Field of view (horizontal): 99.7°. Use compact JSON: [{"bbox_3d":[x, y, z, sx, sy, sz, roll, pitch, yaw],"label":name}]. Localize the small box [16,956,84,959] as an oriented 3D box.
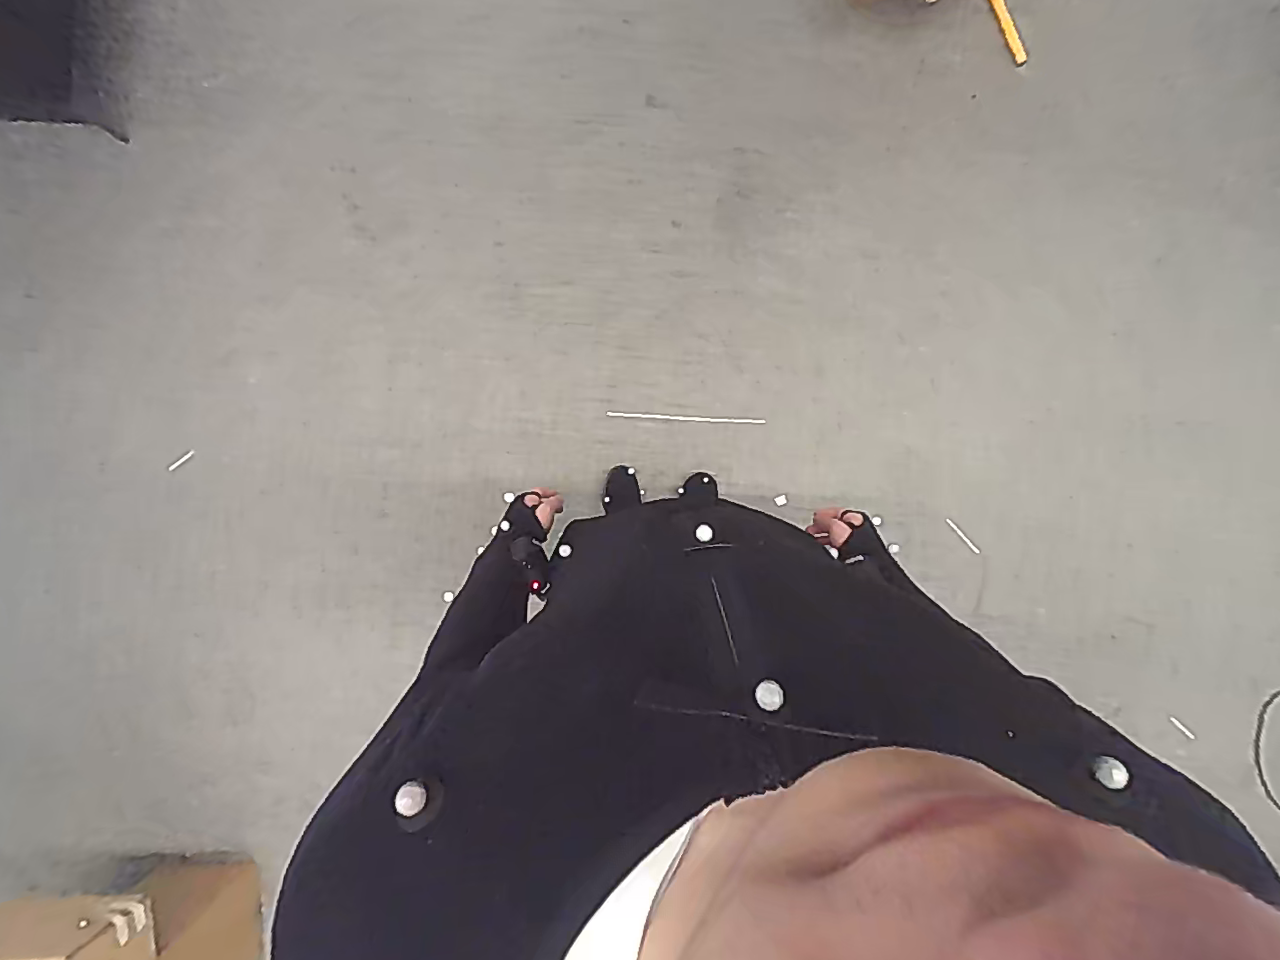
[{"bbox_3d":[-1.354,1.169,1.157,0.179,0.176,0.168,-1,91,0],"label":"small box"}]
